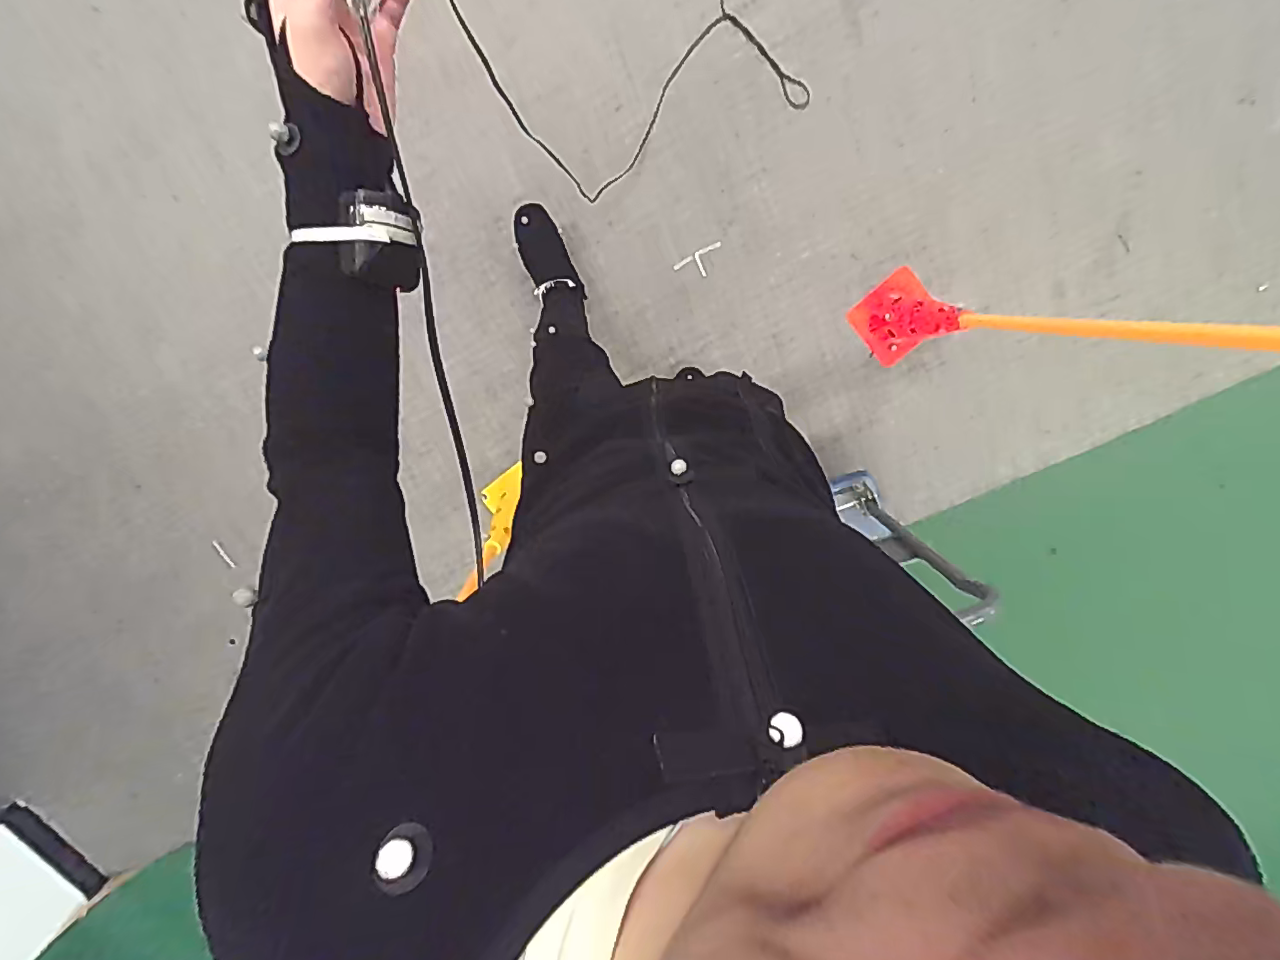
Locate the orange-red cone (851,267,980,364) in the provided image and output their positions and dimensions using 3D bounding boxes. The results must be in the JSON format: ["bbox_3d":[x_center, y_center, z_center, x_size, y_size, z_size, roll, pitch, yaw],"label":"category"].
[{"bbox_3d":[0.696,-0.391,1.300,0.199,0.360,0.198,-40,103,11],"label":"orange-red cone"}]
